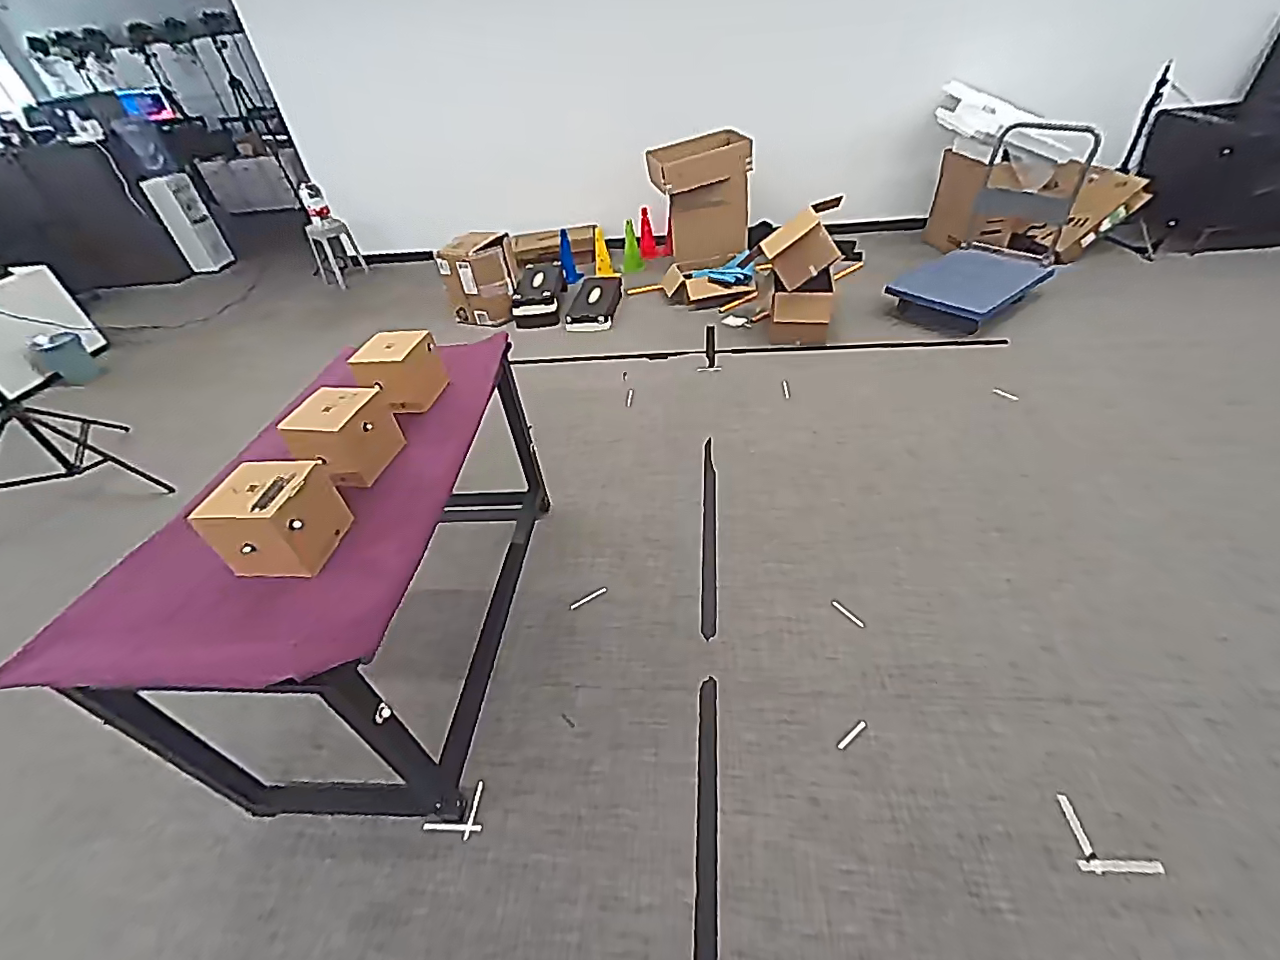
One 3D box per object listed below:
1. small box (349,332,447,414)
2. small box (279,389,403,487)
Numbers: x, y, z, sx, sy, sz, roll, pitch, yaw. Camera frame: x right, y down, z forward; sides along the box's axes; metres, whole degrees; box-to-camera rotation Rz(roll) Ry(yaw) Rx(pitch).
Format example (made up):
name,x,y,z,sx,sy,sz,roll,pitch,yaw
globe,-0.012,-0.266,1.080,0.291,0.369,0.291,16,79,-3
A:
name,x,y,z,sx,sy,sz,roll,pitch,yaw
small box,-0.670,-0.297,1.525,0.168,0.176,0.179,0,41,10
small box,-0.705,-0.101,1.302,0.168,0.176,0.179,4,41,12
